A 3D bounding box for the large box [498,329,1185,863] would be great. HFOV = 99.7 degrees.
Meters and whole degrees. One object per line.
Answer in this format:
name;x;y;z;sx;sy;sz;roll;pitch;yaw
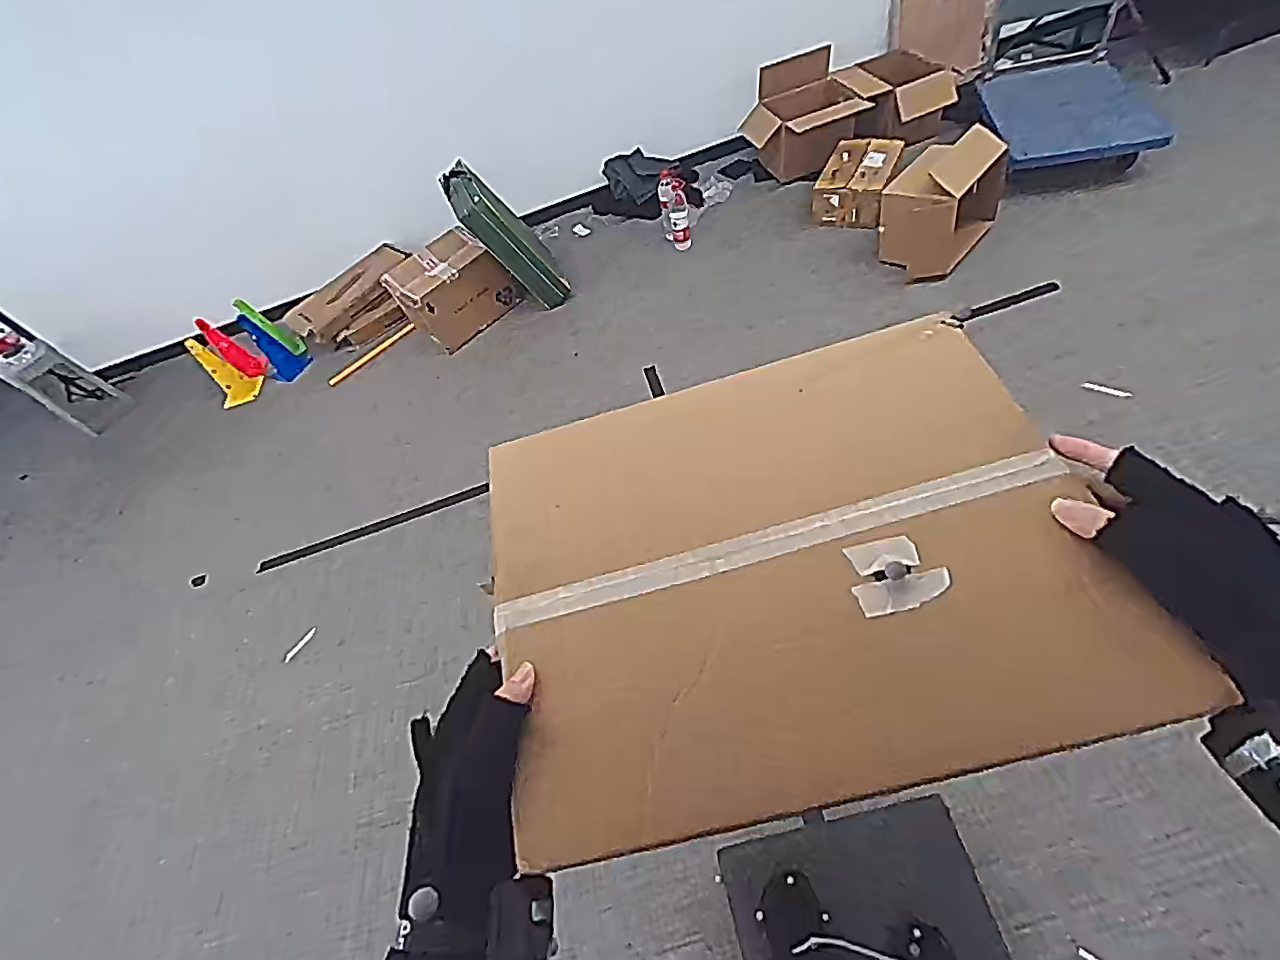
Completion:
large box;0.121;0.125;0.522;0.408;0.320;0.320;-16;59;4
